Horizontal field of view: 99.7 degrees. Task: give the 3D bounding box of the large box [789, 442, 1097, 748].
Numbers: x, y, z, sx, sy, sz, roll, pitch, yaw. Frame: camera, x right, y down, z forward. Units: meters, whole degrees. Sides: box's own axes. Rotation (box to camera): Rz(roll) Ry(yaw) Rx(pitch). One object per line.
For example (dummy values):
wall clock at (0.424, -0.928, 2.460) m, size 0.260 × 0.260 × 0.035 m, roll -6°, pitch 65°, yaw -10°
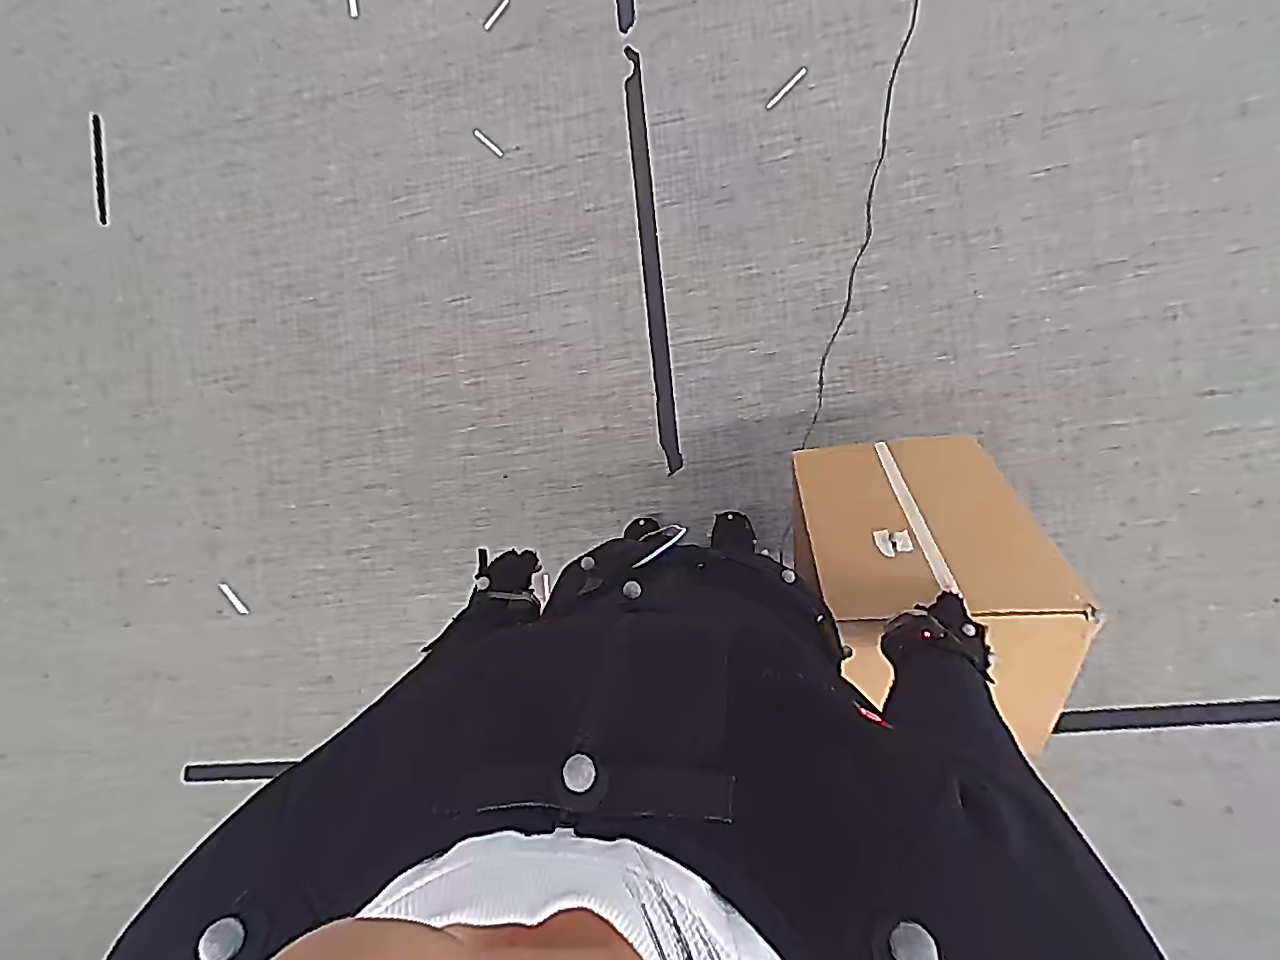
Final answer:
large box at (0.440, 0.180, 0.914) m, size 0.320 × 0.408 × 0.320 m, roll -6°, pitch 125°, yaw 11°
